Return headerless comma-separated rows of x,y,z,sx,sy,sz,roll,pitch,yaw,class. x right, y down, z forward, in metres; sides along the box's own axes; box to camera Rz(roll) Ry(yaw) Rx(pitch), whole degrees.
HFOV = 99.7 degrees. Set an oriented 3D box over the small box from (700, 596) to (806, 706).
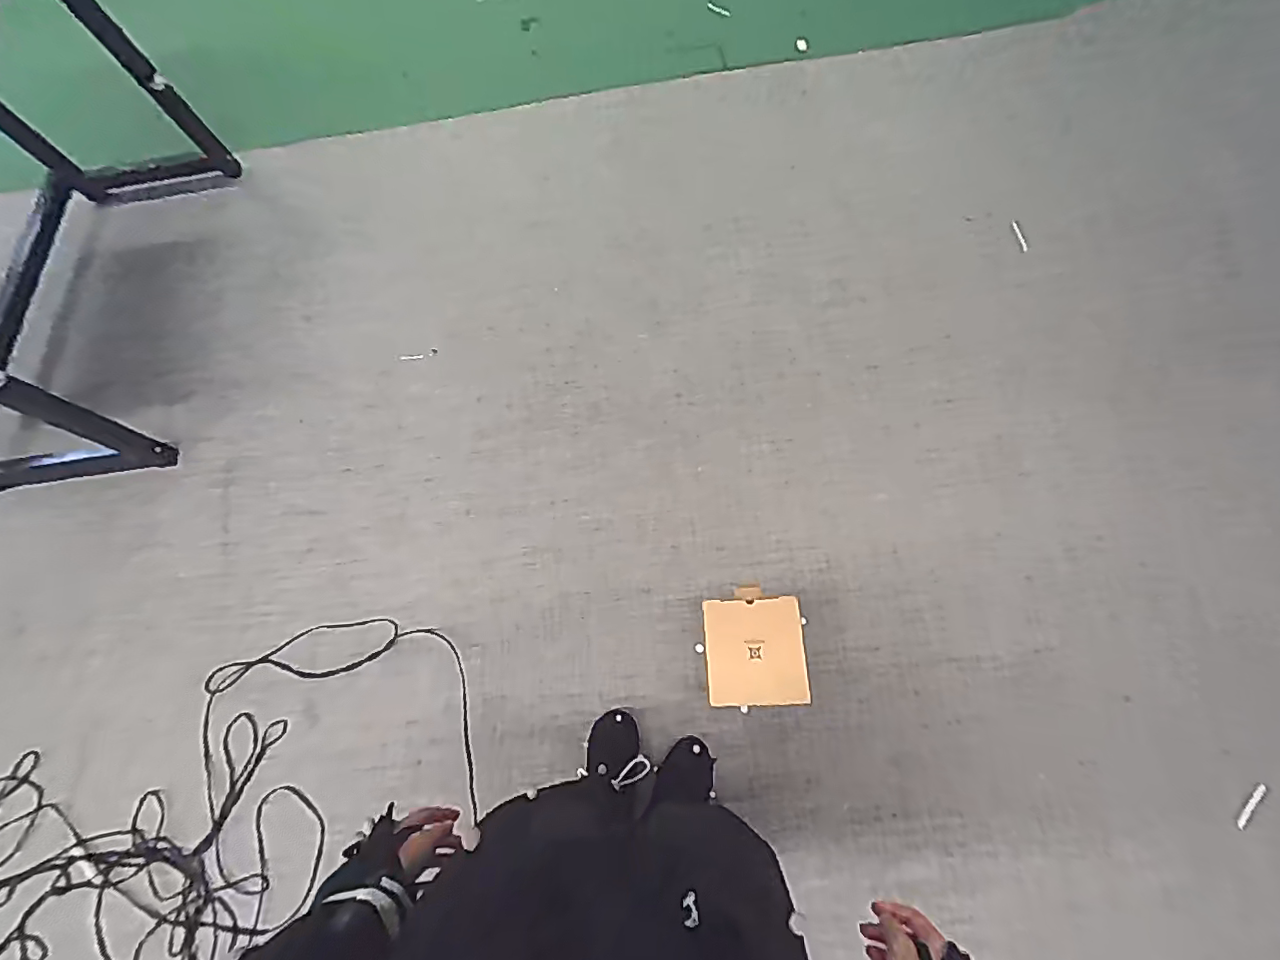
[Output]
0.198,0.313,0.989,0.168,0.176,0.179,-4,69,5,small box
